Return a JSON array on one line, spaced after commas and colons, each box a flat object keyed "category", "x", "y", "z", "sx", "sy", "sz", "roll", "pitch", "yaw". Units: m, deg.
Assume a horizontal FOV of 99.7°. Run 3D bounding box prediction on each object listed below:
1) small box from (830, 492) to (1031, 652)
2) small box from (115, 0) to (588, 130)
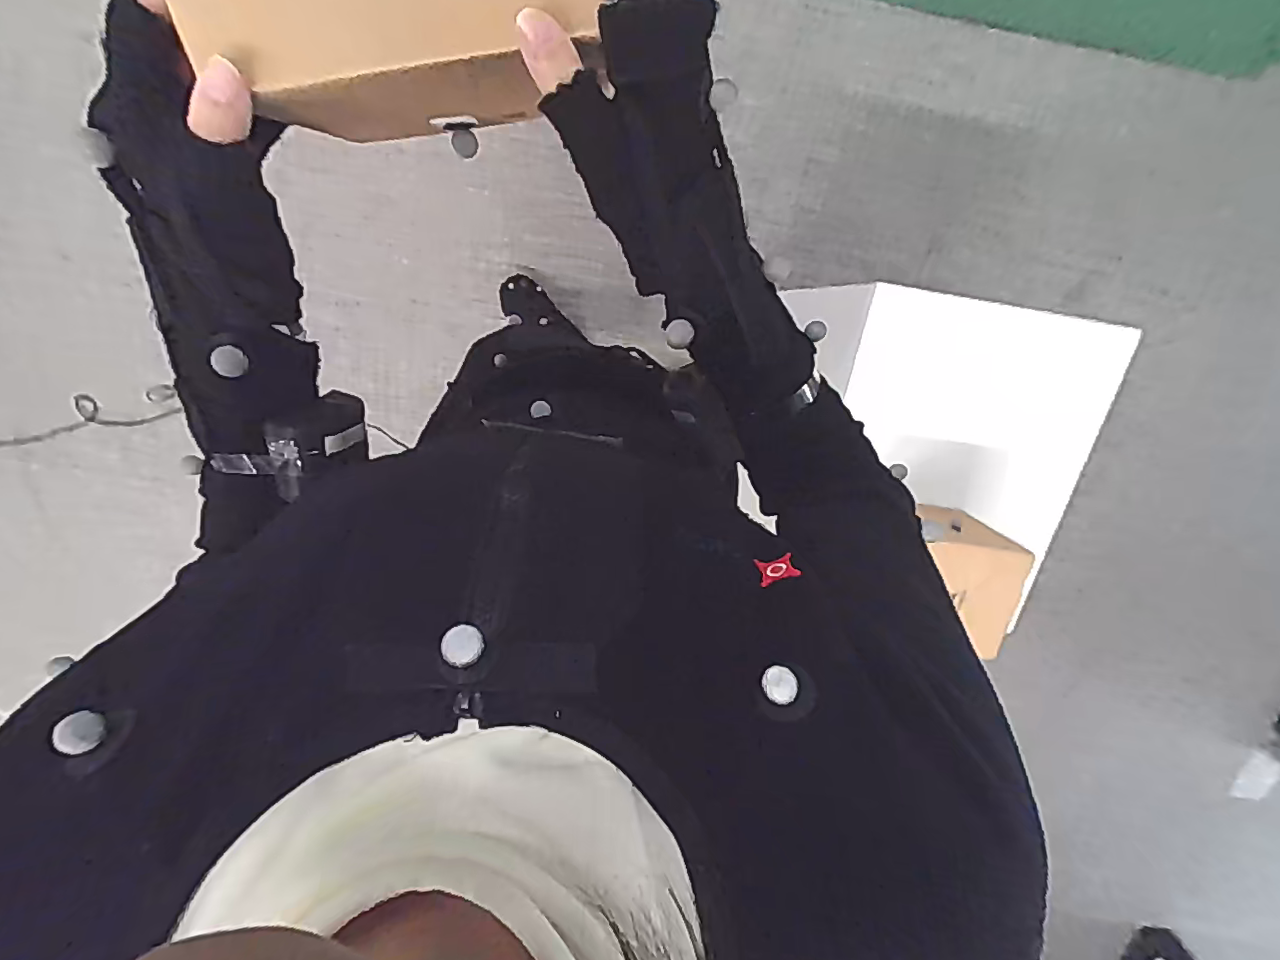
[{"category": "small box", "x": 0.411, "y": 0.127, "z": 0.797, "sx": 0.179, "sy": 0.176, "sz": 0.168, "roll": 8, "pitch": 107, "yaw": -4}, {"category": "small box", "x": -0.119, "y": -0.275, "z": 0.234, "sx": 0.168, "sy": 0.176, "sz": 0.179, "roll": -9, "pitch": 117, "yaw": 2}]
